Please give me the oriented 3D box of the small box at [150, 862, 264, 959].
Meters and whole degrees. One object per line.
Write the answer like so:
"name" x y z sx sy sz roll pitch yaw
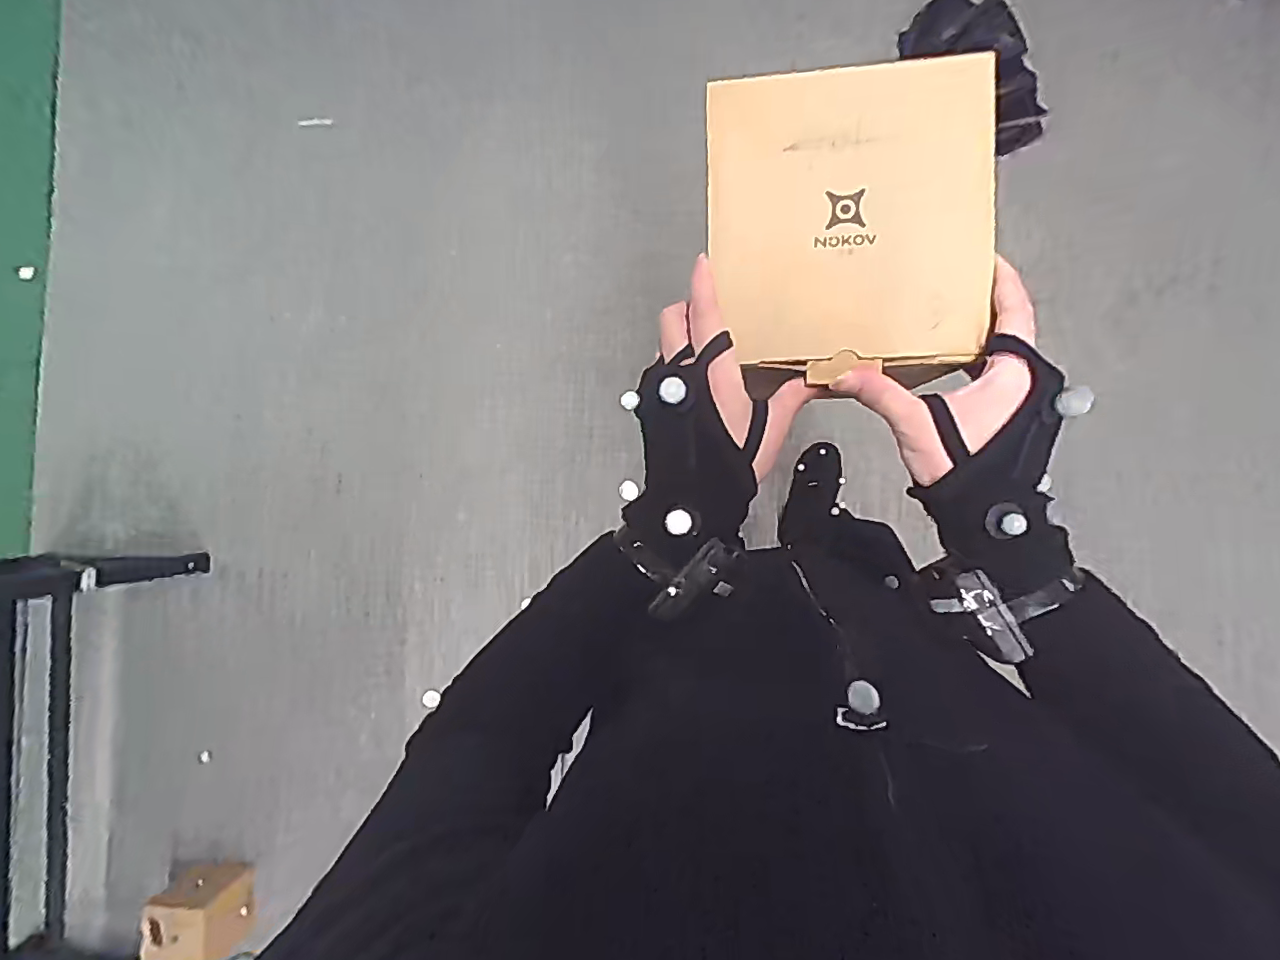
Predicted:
"small box" -1.159 1.168 1.454 0.179 0.176 0.168 -1 89 6
